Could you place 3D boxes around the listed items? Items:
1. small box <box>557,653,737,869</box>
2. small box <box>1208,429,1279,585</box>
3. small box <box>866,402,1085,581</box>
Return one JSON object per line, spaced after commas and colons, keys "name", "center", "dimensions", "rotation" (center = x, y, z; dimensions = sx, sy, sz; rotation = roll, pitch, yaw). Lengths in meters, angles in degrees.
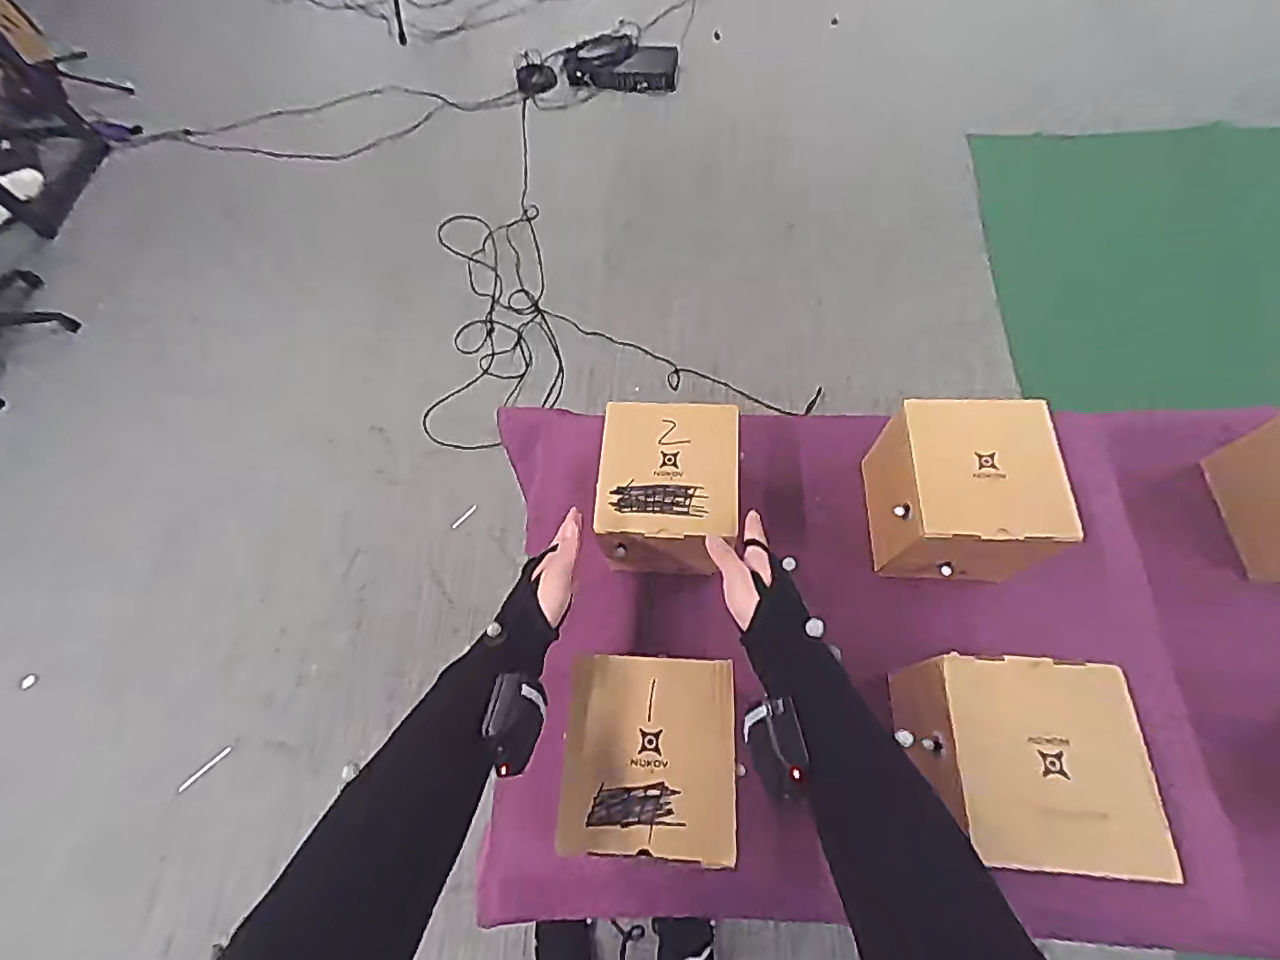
{"name": "small box", "center": [0.016, 0.293, 0.586], "dimensions": [0.168, 0.176, 0.179], "rotation": [1, 64, 5]}
{"name": "small box", "center": [0.854, 0.021, 0.643], "dimensions": [0.168, 0.176, 0.179], "rotation": [-1, 65, 7]}
{"name": "small box", "center": [0.401, 0.019, 0.686], "dimensions": [0.168, 0.176, 0.179], "rotation": [1, 66, 5]}
